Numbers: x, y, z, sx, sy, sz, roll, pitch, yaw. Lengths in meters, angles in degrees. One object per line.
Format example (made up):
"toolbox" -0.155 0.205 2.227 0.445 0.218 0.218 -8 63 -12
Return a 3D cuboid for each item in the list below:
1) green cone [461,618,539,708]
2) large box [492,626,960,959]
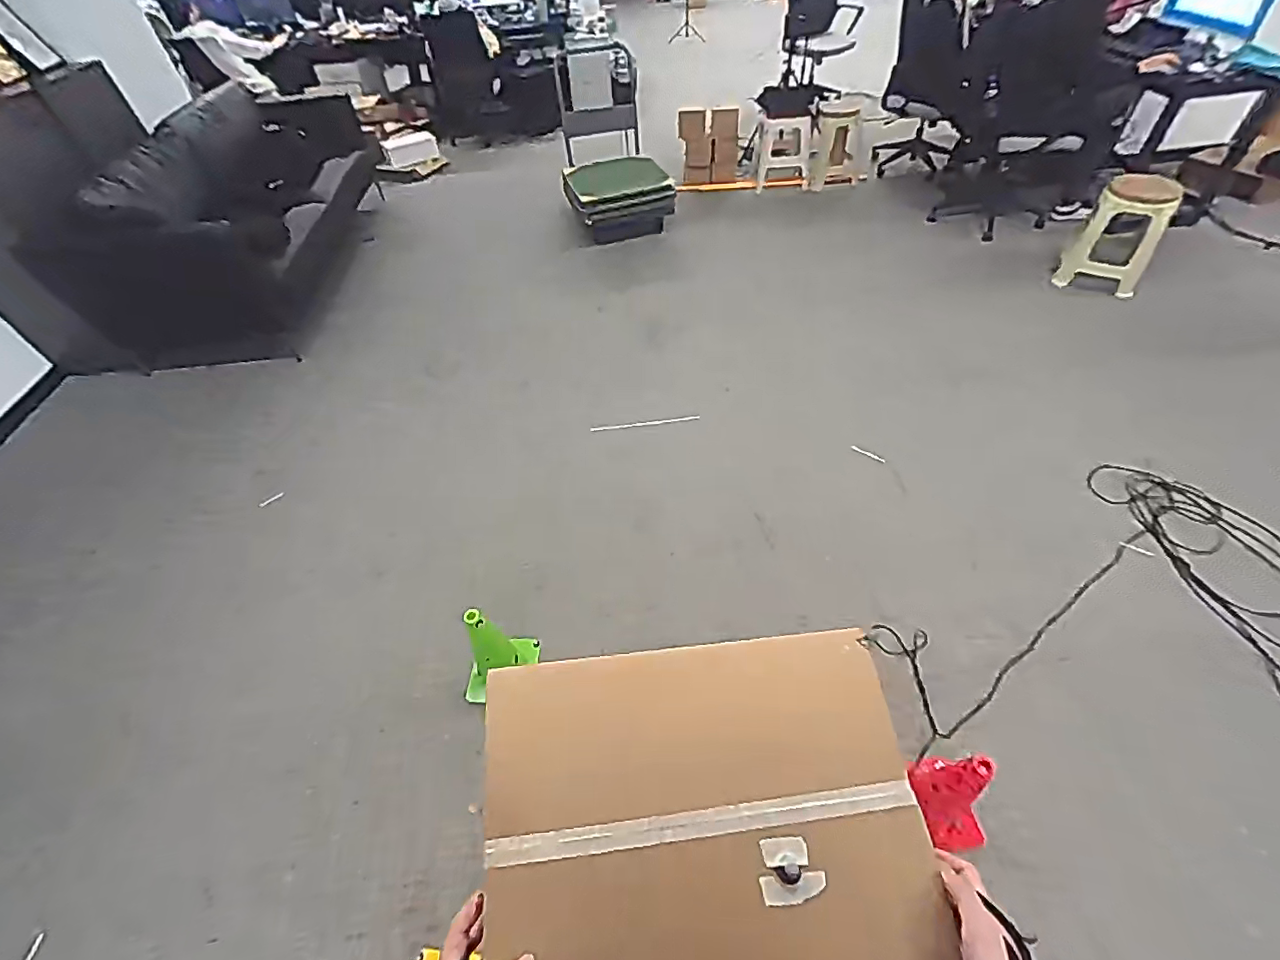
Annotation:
"green cone" -0.429 0.482 1.519 0.200 0.368 0.202 -2 50 4
"large box" 0.054 0.388 0.642 0.408 0.320 0.320 -5 63 -6
